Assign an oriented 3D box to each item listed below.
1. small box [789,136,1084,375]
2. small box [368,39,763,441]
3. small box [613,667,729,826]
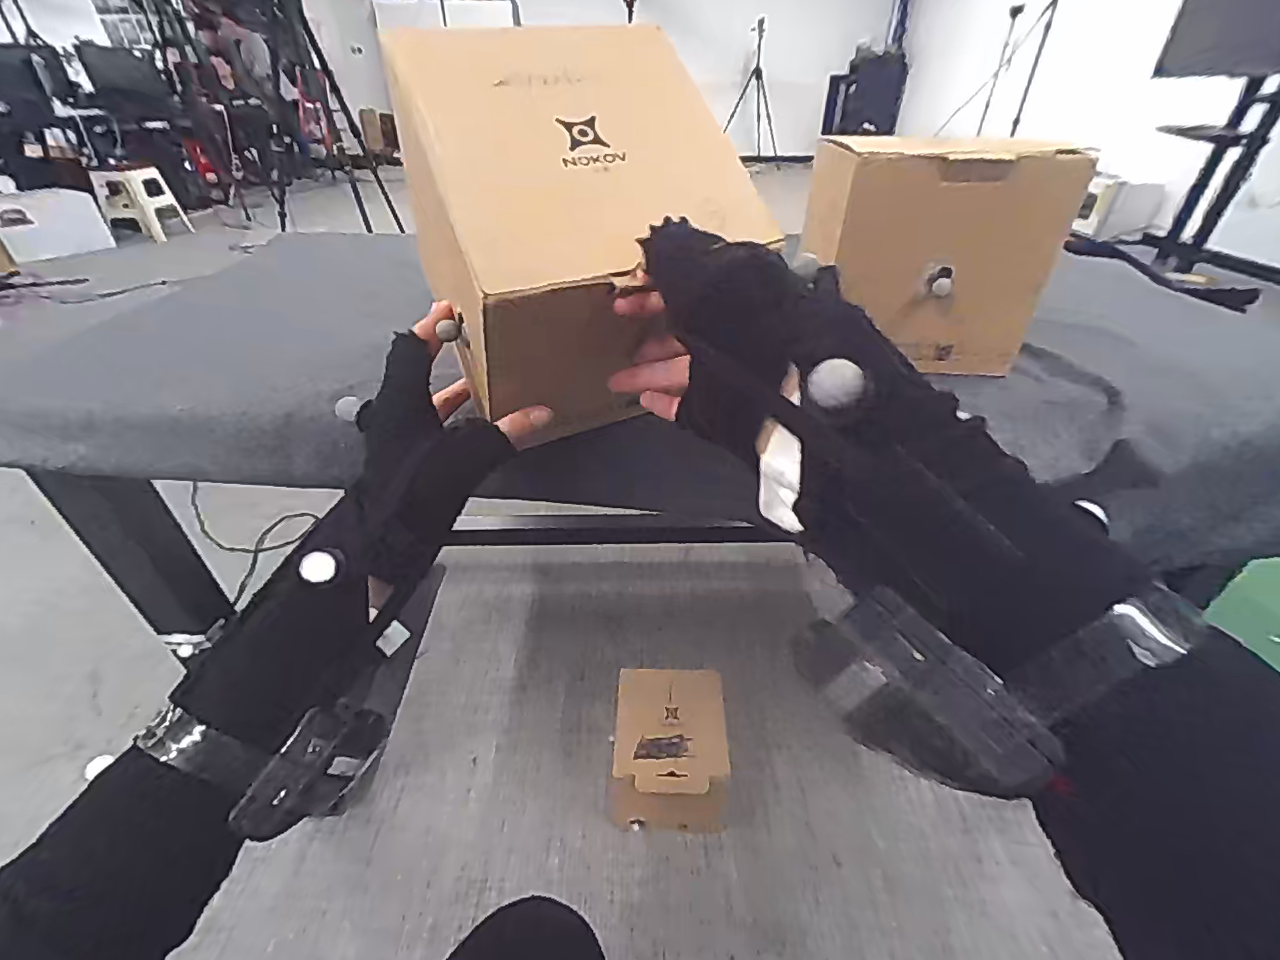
[{"bbox_3d":[0.238,-0.206,0.493,0.168,0.176,0.179,3,36,5],"label":"small box"},{"bbox_3d":[-0.053,-0.143,0.359,0.168,0.176,0.179,-19,72,-20],"label":"small box"},{"bbox_3d":[0.049,0.424,0.864,0.168,0.176,0.179,1,34,2],"label":"small box"}]
